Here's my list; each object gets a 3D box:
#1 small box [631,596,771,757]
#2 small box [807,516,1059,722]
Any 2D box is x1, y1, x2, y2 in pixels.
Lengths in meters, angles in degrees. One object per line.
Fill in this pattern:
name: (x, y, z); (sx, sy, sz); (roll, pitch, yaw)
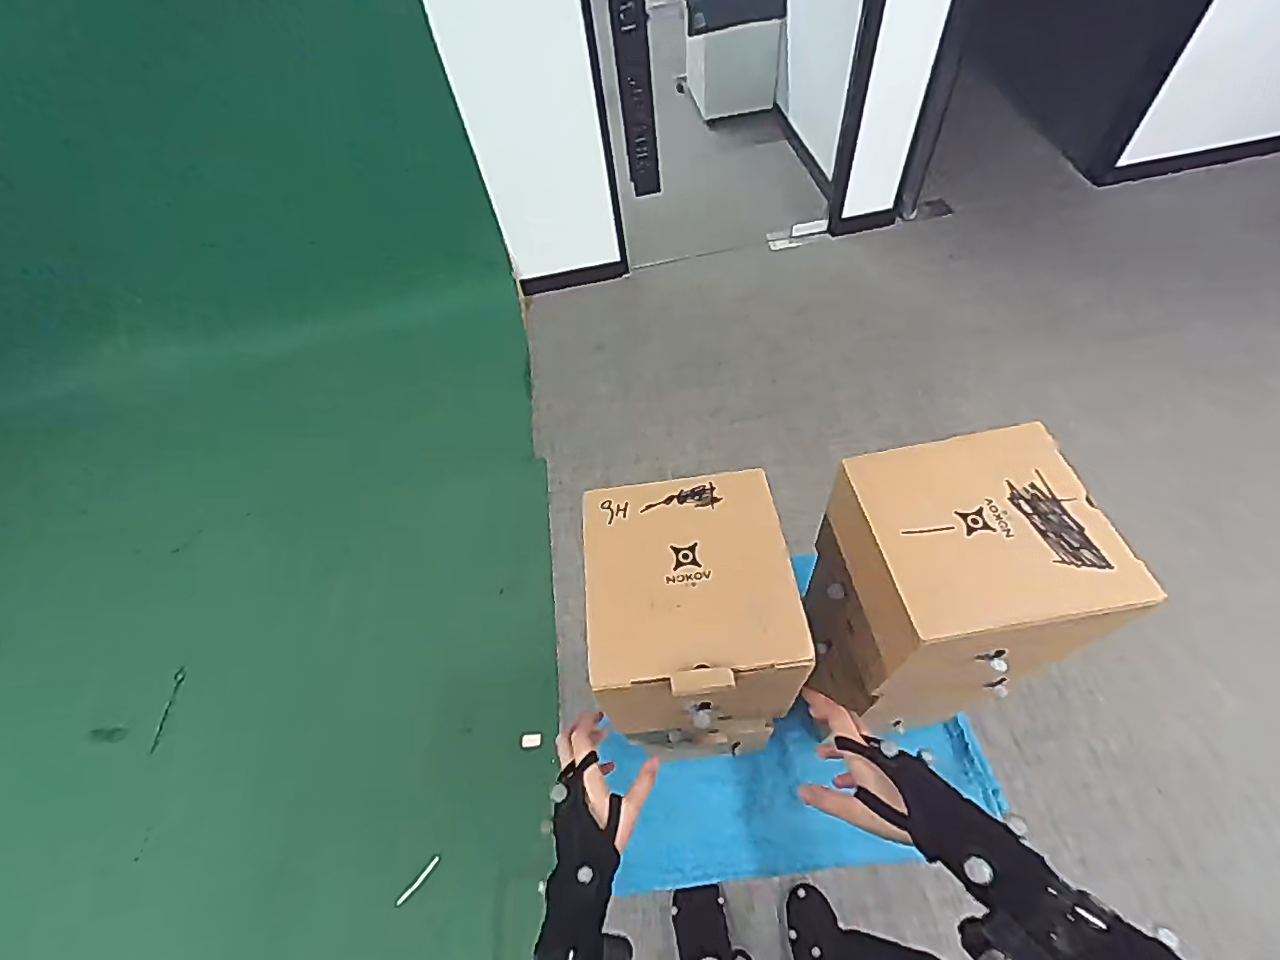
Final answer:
small box: (0.082, 0.286, 0.767); (0.168, 0.176, 0.179); (-7, 55, 1)
small box: (0.308, 0.164, 0.617); (0.179, 0.176, 0.168); (-11, 55, 1)
